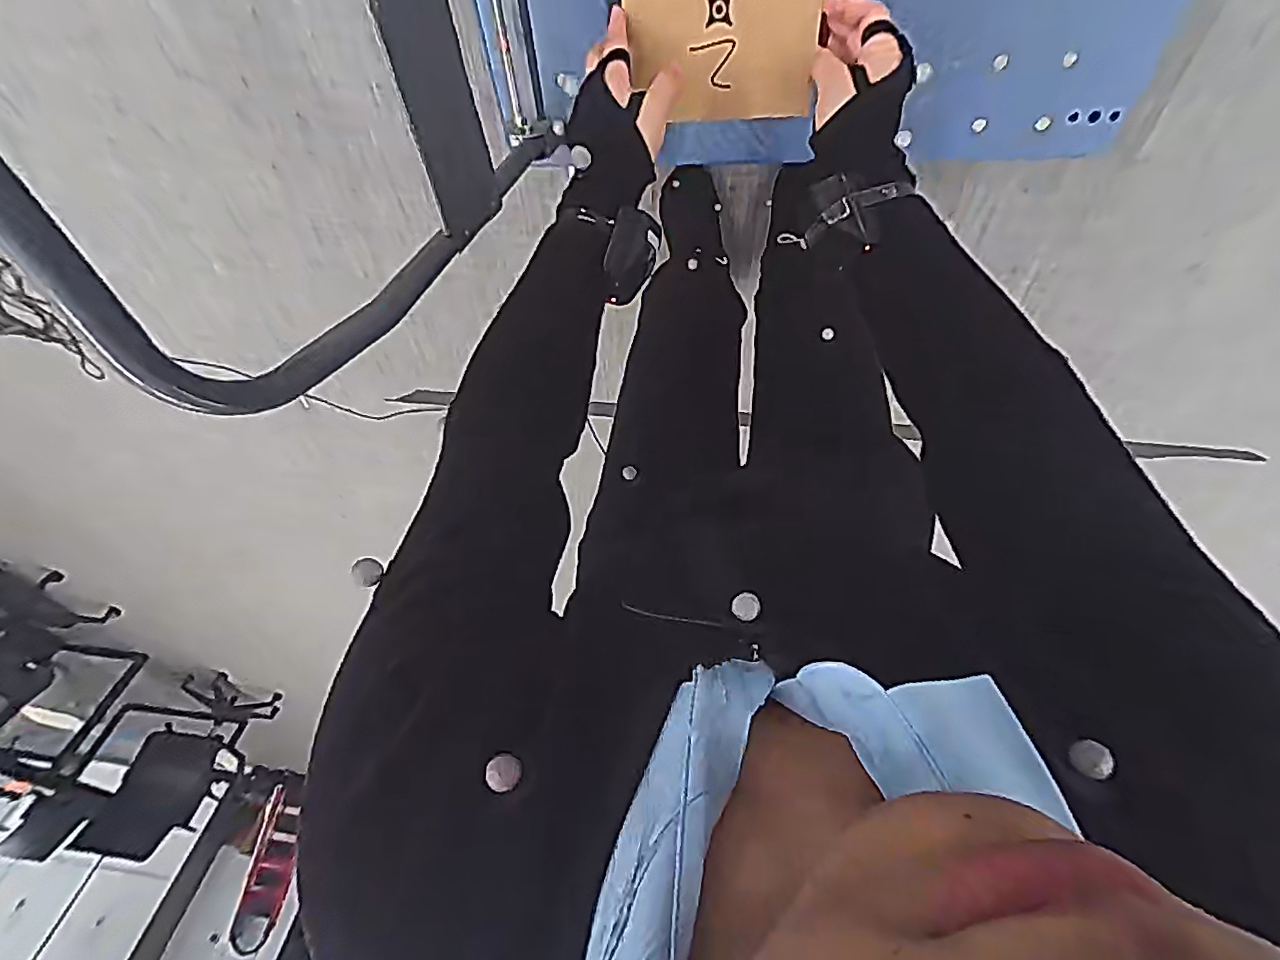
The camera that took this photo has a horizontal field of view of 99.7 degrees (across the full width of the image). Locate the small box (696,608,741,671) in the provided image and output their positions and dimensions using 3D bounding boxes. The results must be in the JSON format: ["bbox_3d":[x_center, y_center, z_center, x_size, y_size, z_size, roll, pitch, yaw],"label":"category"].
[{"bbox_3d":[0.309,0.626,2.127,0.168,0.176,0.179,3,136,7],"label":"small box"}]

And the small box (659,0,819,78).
[{"bbox_3d":[0.113,-0.571,0.596,0.168,0.176,0.179,6,138,5],"label":"small box"}]
